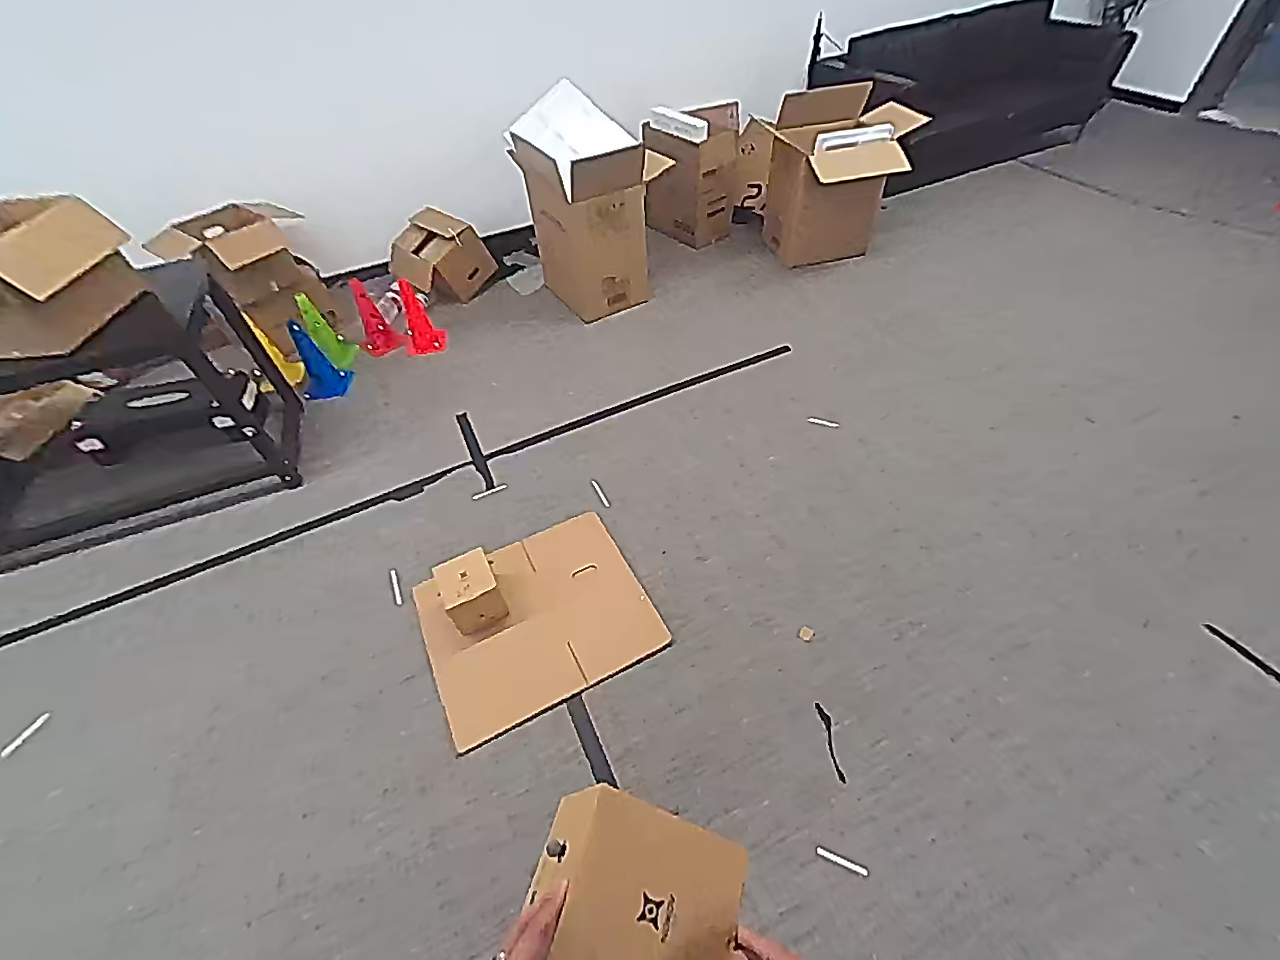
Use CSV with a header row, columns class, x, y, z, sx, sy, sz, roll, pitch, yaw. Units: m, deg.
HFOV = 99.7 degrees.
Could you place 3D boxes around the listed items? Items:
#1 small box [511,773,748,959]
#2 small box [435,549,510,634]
class,x,y,z,sx,sy,sz,roll,pitch,yaw
small box,-0.015,0.436,0.566,0.179,0.176,0.168,27,51,-6
small box,-0.539,0.360,1.742,0.168,0.176,0.179,-24,51,-16
